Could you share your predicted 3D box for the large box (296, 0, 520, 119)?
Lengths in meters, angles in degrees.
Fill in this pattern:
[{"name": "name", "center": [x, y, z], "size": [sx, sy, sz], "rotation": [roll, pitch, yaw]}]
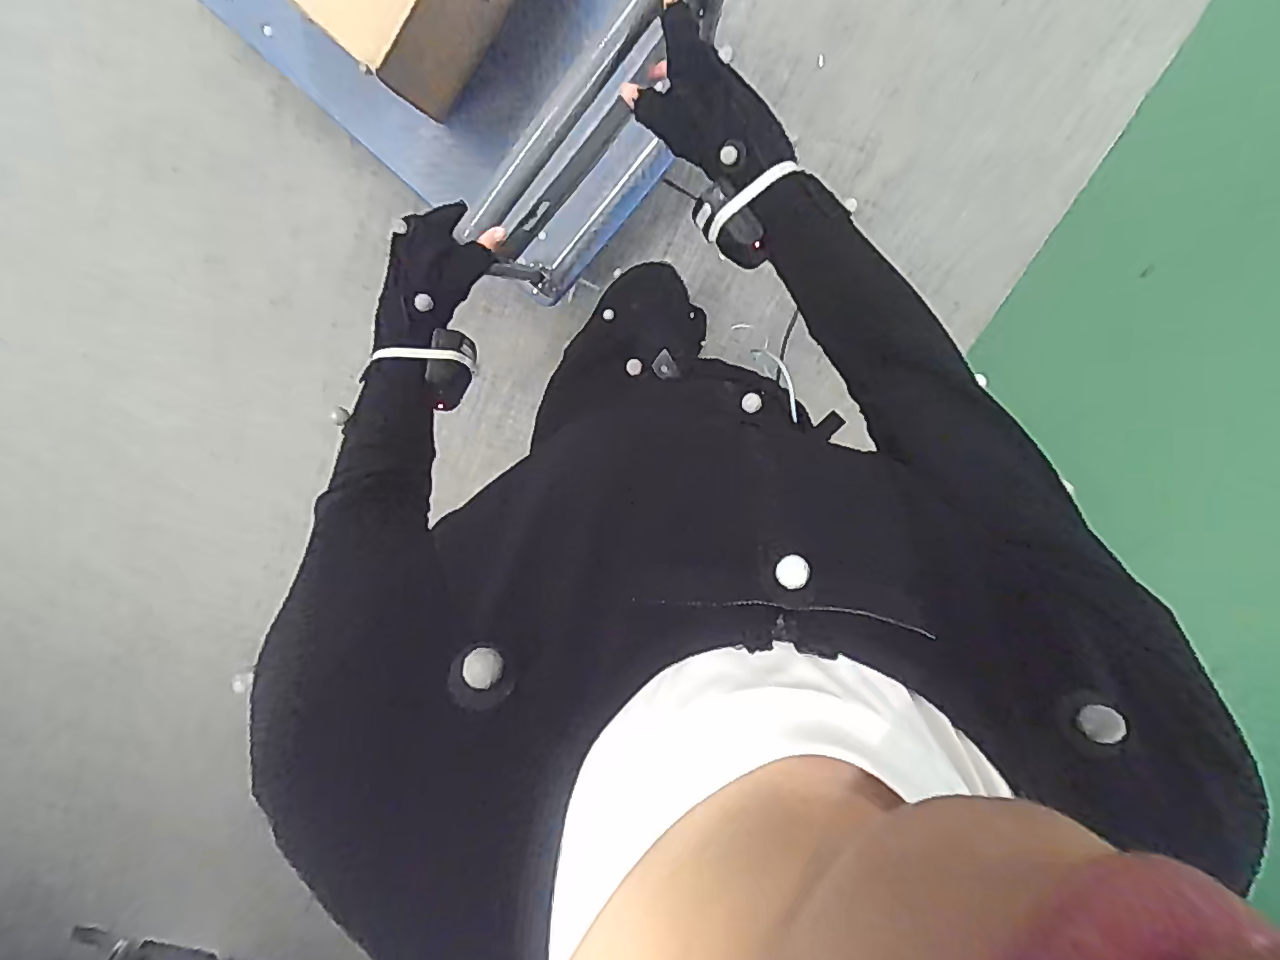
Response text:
[{"name": "large box", "center": [-0.354, -0.865, 0.817], "size": [0.320, 0.320, 0.408], "rotation": [37, 108, -14]}]
